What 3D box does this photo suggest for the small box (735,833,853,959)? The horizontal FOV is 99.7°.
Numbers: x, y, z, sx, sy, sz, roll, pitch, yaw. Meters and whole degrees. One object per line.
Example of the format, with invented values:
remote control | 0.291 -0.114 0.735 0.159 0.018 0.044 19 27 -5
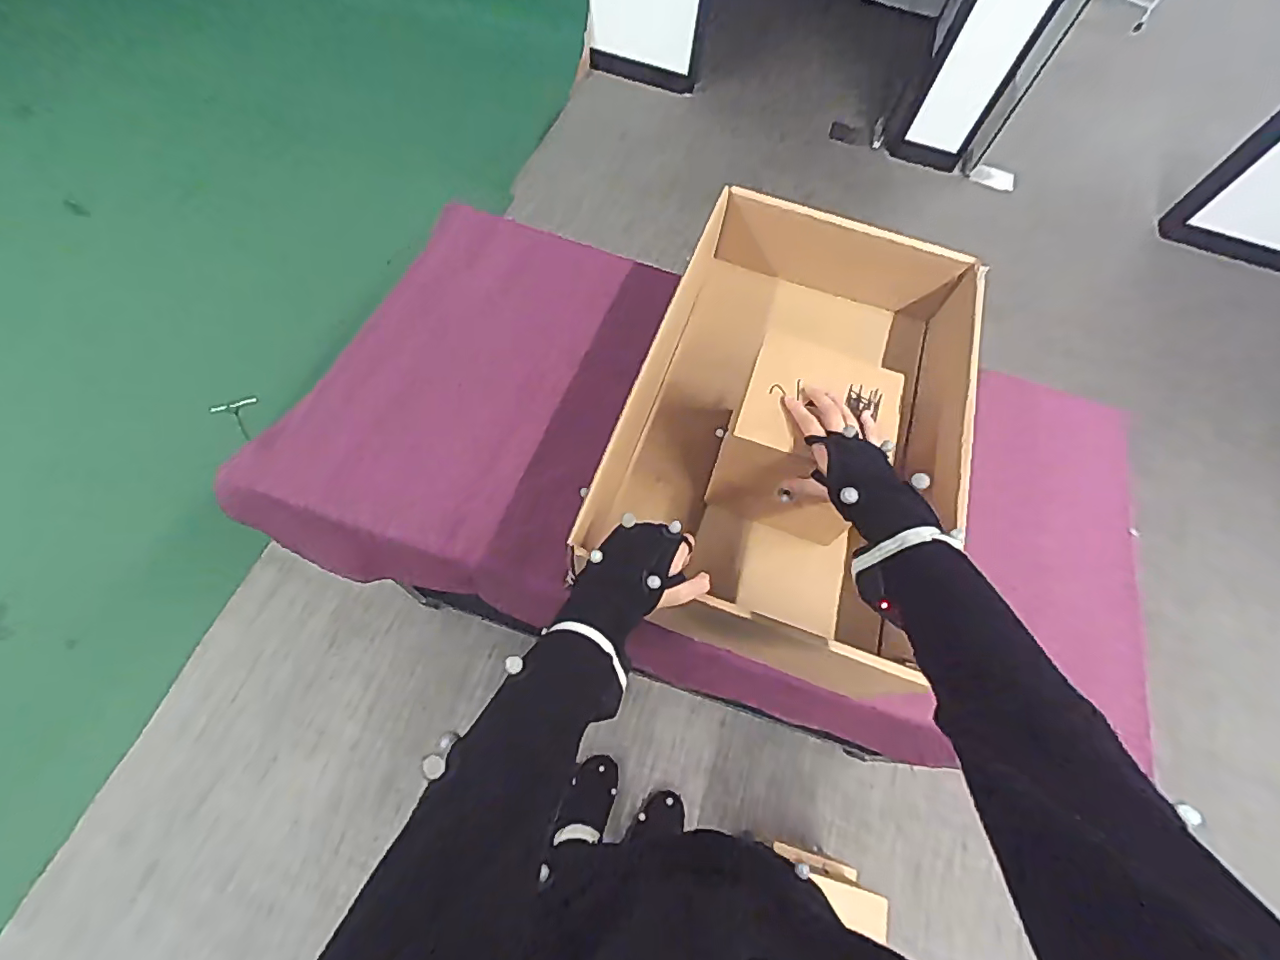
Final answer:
small box | 0.315 0.862 1.125 0.179 0.176 0.168 17 64 4
